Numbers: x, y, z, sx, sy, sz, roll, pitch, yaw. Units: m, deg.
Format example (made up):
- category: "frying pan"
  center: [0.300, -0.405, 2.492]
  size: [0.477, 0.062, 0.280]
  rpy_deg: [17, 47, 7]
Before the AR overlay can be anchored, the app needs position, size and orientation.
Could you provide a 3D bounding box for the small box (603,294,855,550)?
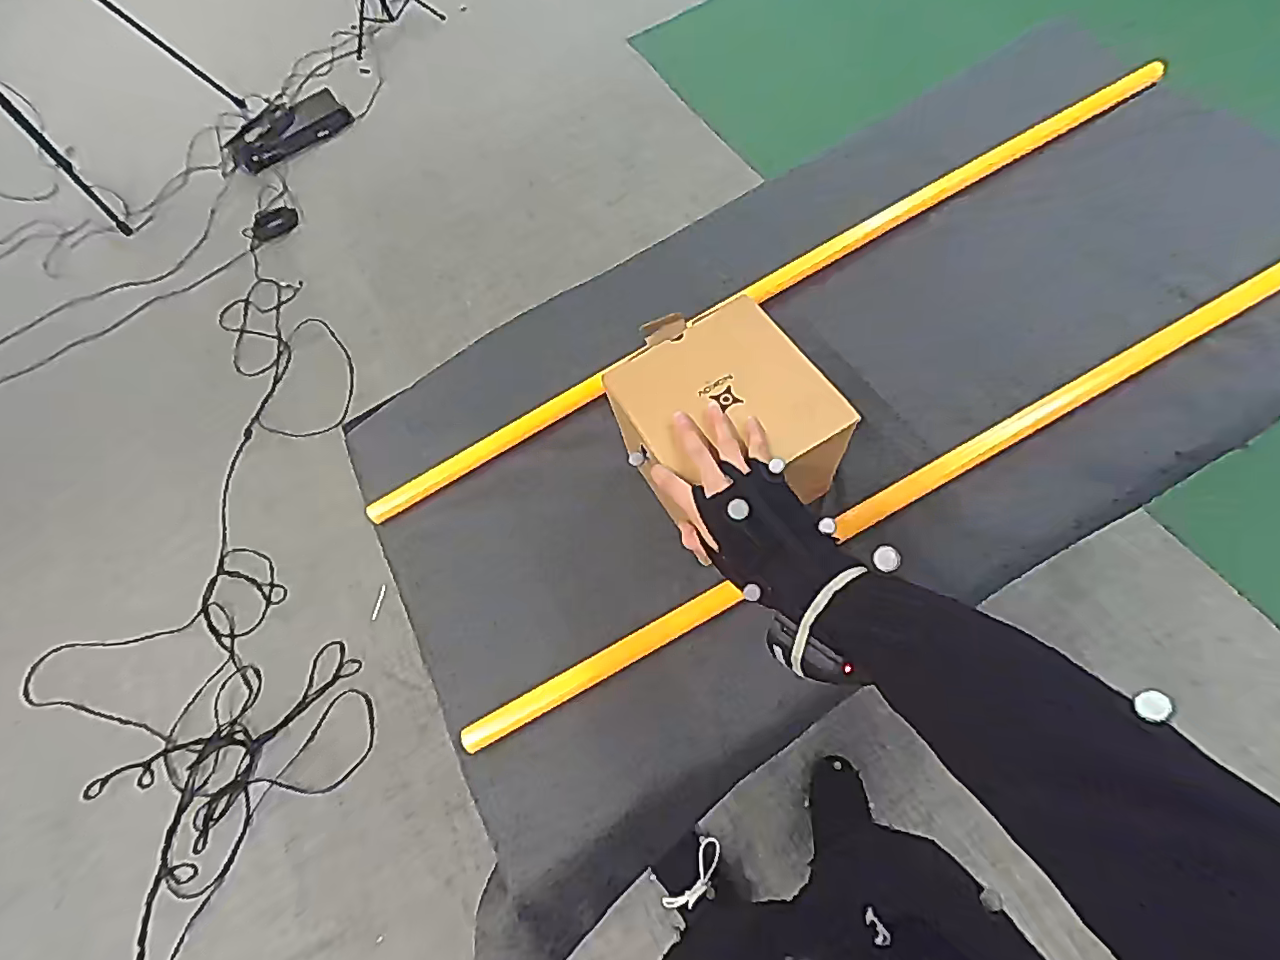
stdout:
- category: "small box"
  center: [0.087, -0.045, 0.558]
  size: [0.168, 0.176, 0.179]
  rpy_deg: [-31, 64, -4]
